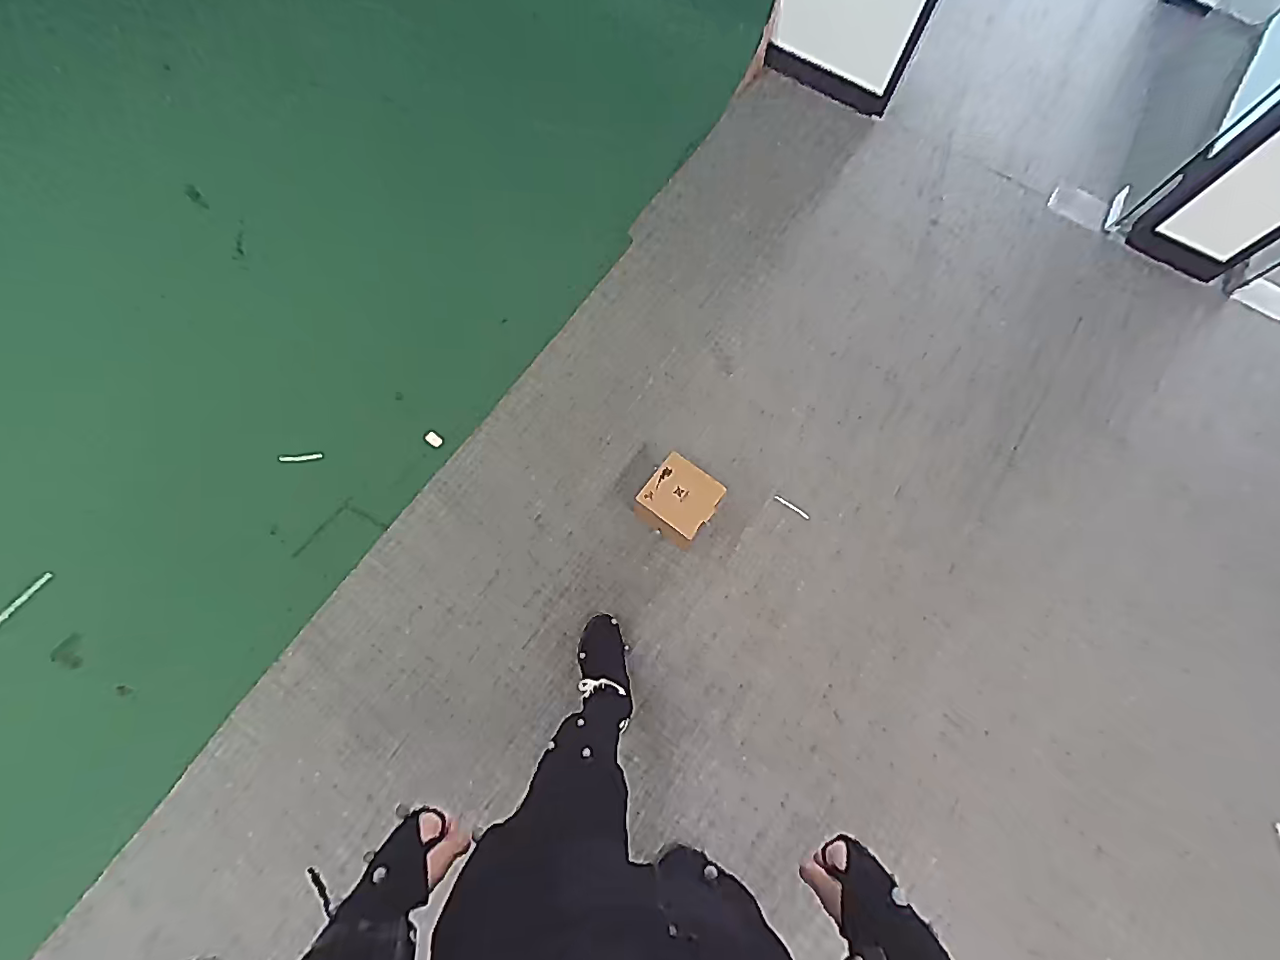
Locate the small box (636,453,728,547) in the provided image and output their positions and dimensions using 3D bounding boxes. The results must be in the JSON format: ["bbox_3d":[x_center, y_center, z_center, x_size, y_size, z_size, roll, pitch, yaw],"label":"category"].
[{"bbox_3d":[0.106,0.062,1.433,0.179,0.176,0.168,36,76,9],"label":"small box"}]
